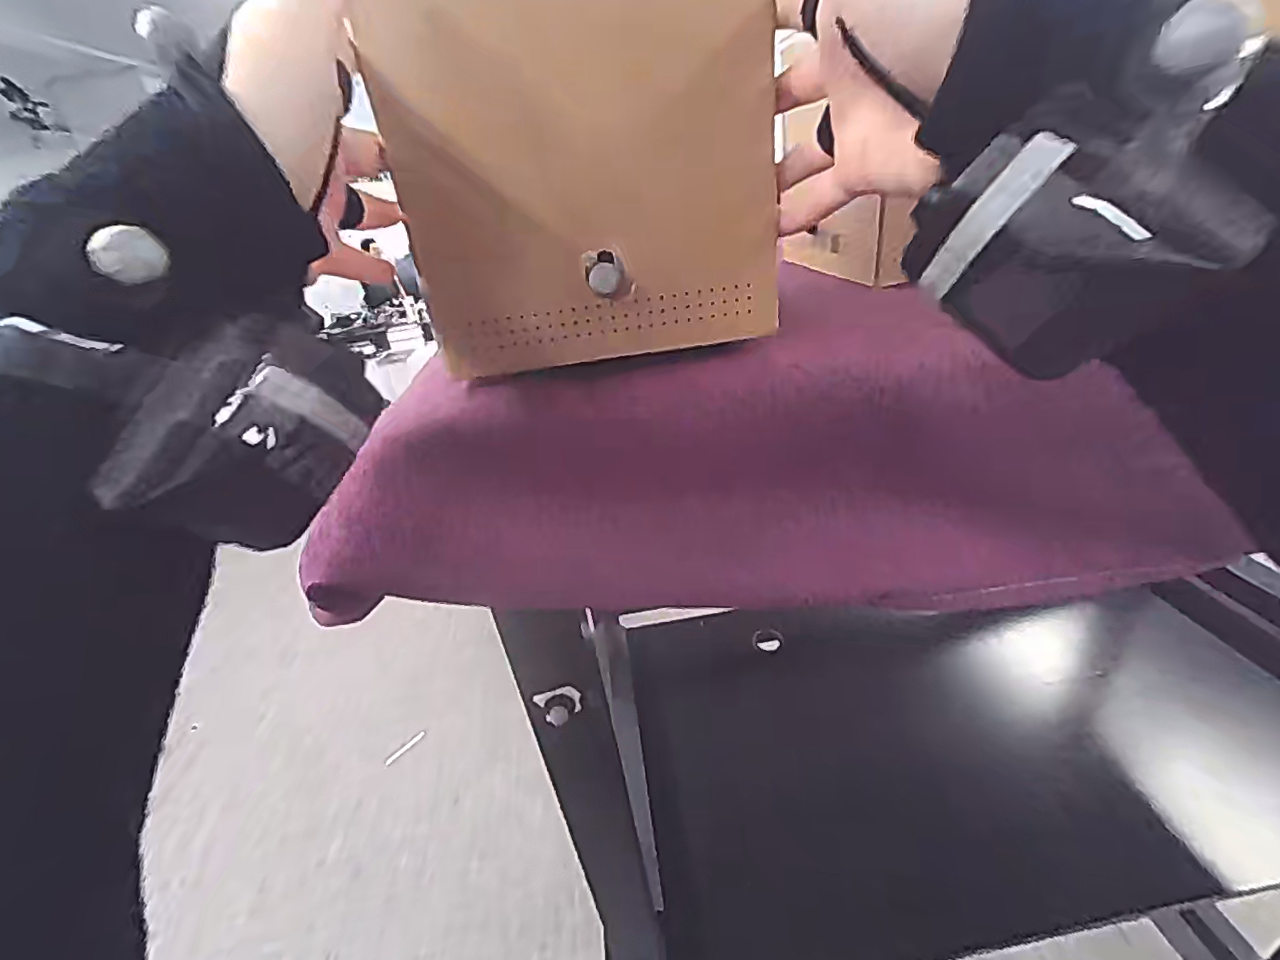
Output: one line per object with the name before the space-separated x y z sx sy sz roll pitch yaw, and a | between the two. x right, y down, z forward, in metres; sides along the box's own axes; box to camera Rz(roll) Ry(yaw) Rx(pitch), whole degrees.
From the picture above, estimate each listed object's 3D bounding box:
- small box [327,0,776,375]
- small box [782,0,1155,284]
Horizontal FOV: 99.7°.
small box | -0.034 -0.168 0.305 0.179 0.176 0.168 -9 25 -4
small box | 0.220 -0.261 0.416 0.179 0.176 0.168 -12 29 -5
